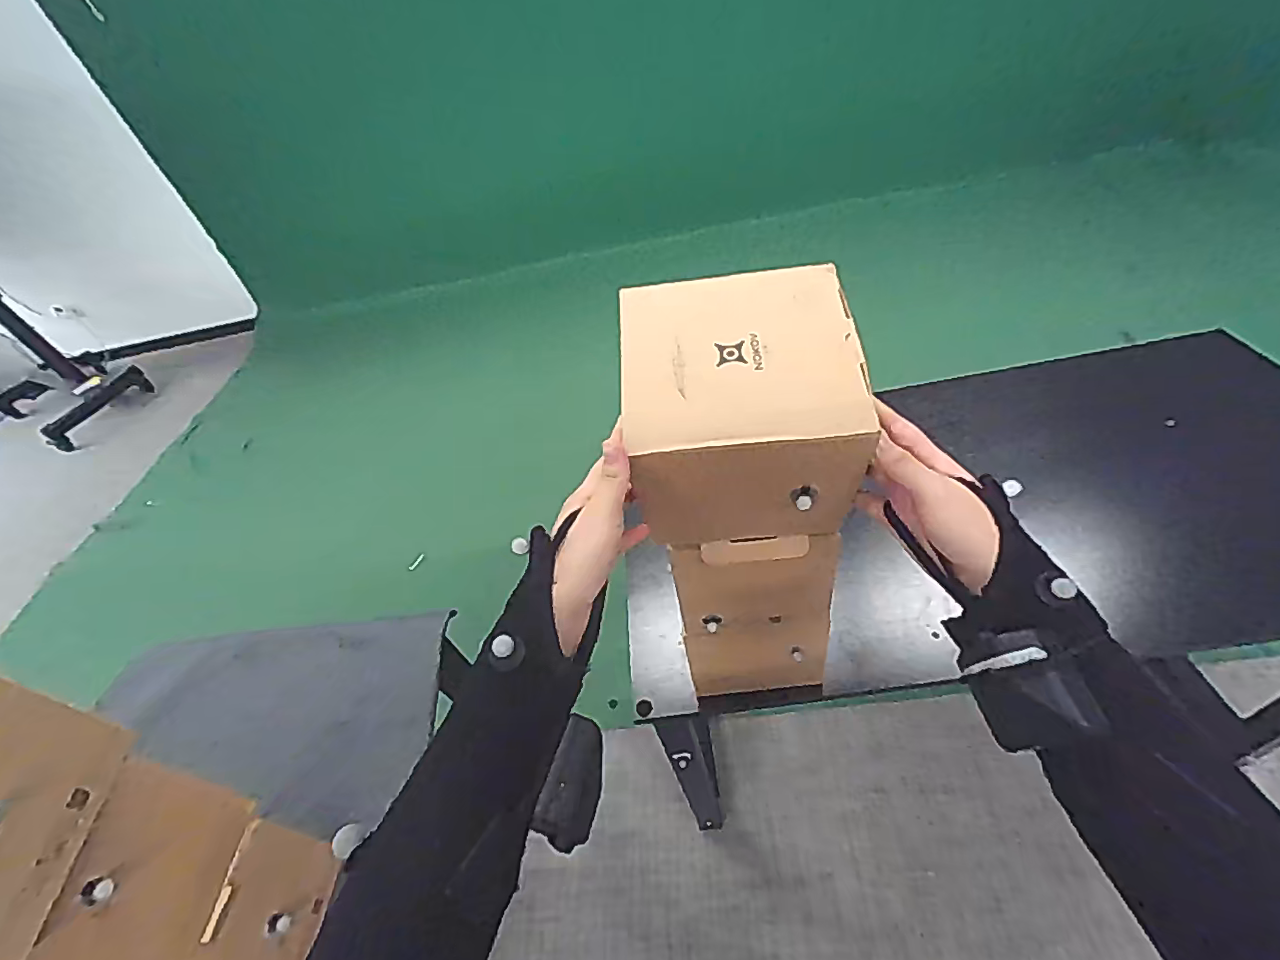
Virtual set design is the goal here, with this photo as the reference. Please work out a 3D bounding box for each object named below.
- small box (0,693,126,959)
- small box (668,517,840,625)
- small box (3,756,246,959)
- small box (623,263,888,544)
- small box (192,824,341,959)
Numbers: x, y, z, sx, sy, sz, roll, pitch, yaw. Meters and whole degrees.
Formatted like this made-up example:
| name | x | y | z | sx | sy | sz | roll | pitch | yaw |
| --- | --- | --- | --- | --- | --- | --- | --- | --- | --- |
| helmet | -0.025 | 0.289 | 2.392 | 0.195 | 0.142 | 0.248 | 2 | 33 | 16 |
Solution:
| name | x | y | z | sx | sy | sz | roll | pitch | yaw |
| --- | --- | --- | --- | --- | --- | --- | --- | --- | --- |
| small box | -0.535 | 0.253 | 0.375 | 0.179 | 0.176 | 0.168 | -15 | 45 | 2 |
| small box | 0.123 | 0.055 | 0.626 | 0.168 | 0.176 | 0.179 | -6 | 44 | 7 |
| small box | -0.509 | 0.373 | 0.486 | 0.168 | 0.176 | 0.179 | -9 | 46 | 8 |
| small box | 0.085 | -0.054 | 0.466 | 0.179 | 0.176 | 0.168 | -6 | 61 | 7 |
| small box | -0.474 | 0.491 | 0.593 | 0.179 | 0.176 | 0.168 | -8 | 46 | 9 |
